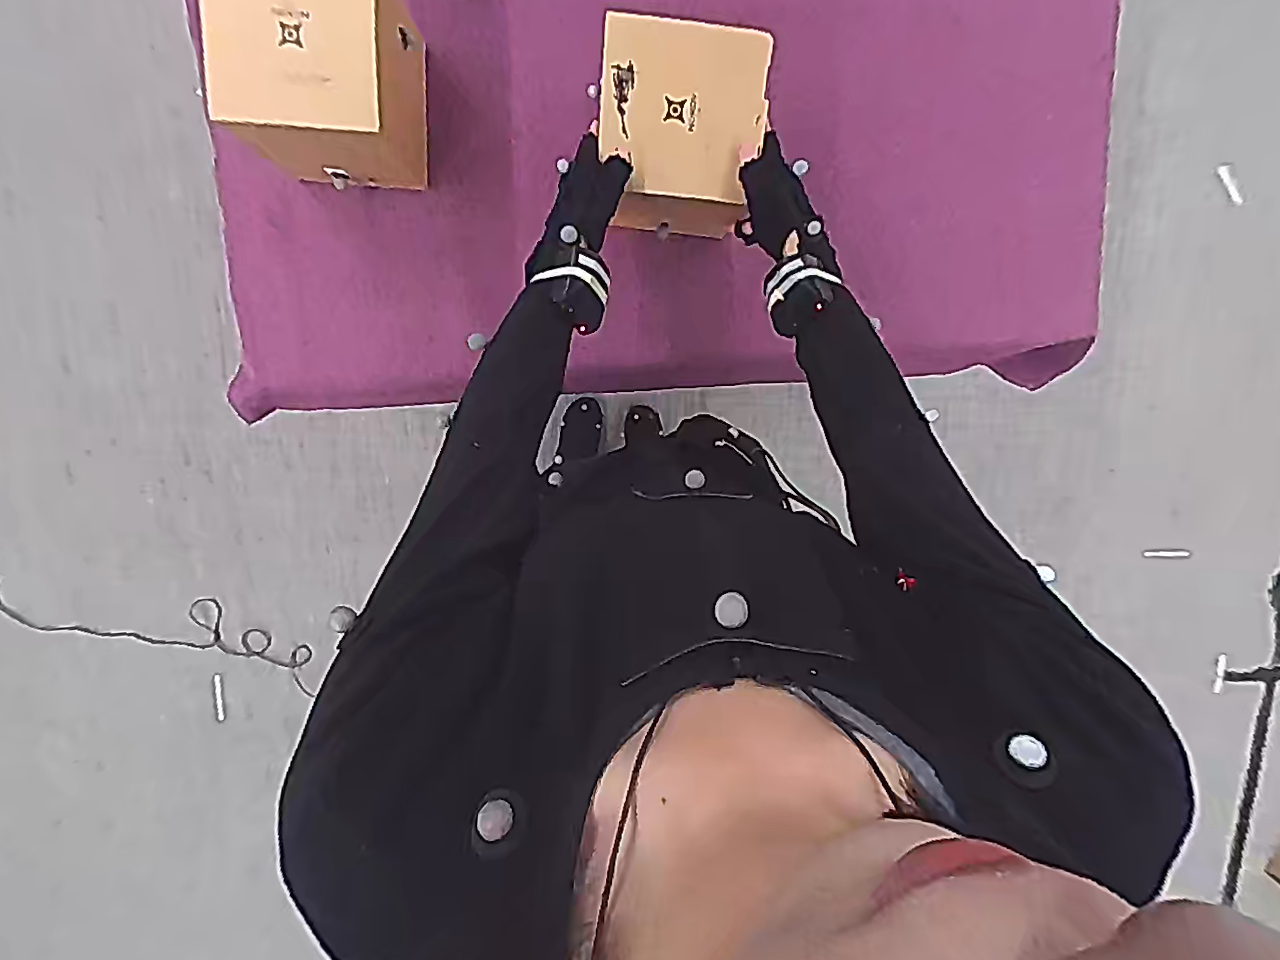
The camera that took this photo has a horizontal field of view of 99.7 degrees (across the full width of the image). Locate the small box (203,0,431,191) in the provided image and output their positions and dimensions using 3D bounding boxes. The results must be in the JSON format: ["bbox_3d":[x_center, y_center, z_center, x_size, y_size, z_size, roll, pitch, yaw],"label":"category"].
[{"bbox_3d":[-0.342,-0.451,0.604,0.168,0.176,0.179,1,100,-4],"label":"small box"}]

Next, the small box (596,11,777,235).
[{"bbox_3d":[0.041,-0.398,0.638,0.179,0.176,0.168,4,103,-5],"label":"small box"}]
